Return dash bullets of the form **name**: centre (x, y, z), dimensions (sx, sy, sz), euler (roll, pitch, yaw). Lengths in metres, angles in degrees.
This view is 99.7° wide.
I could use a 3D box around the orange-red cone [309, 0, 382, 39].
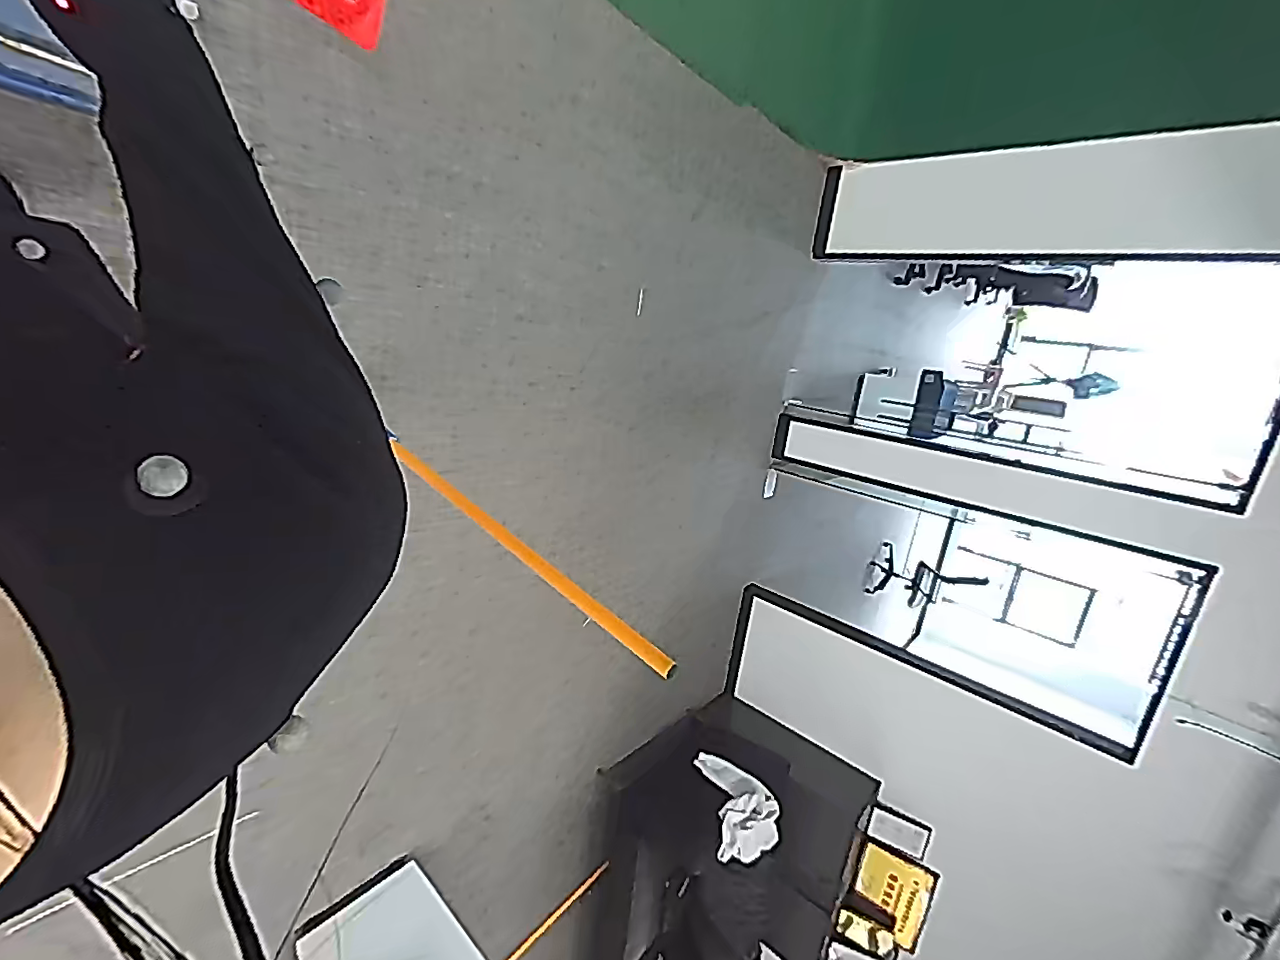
- **orange-red cone**: centre (-0.544, -1.083, 1.088), dimensions (0.198, 0.360, 0.199), euler (9, 100, -51)
